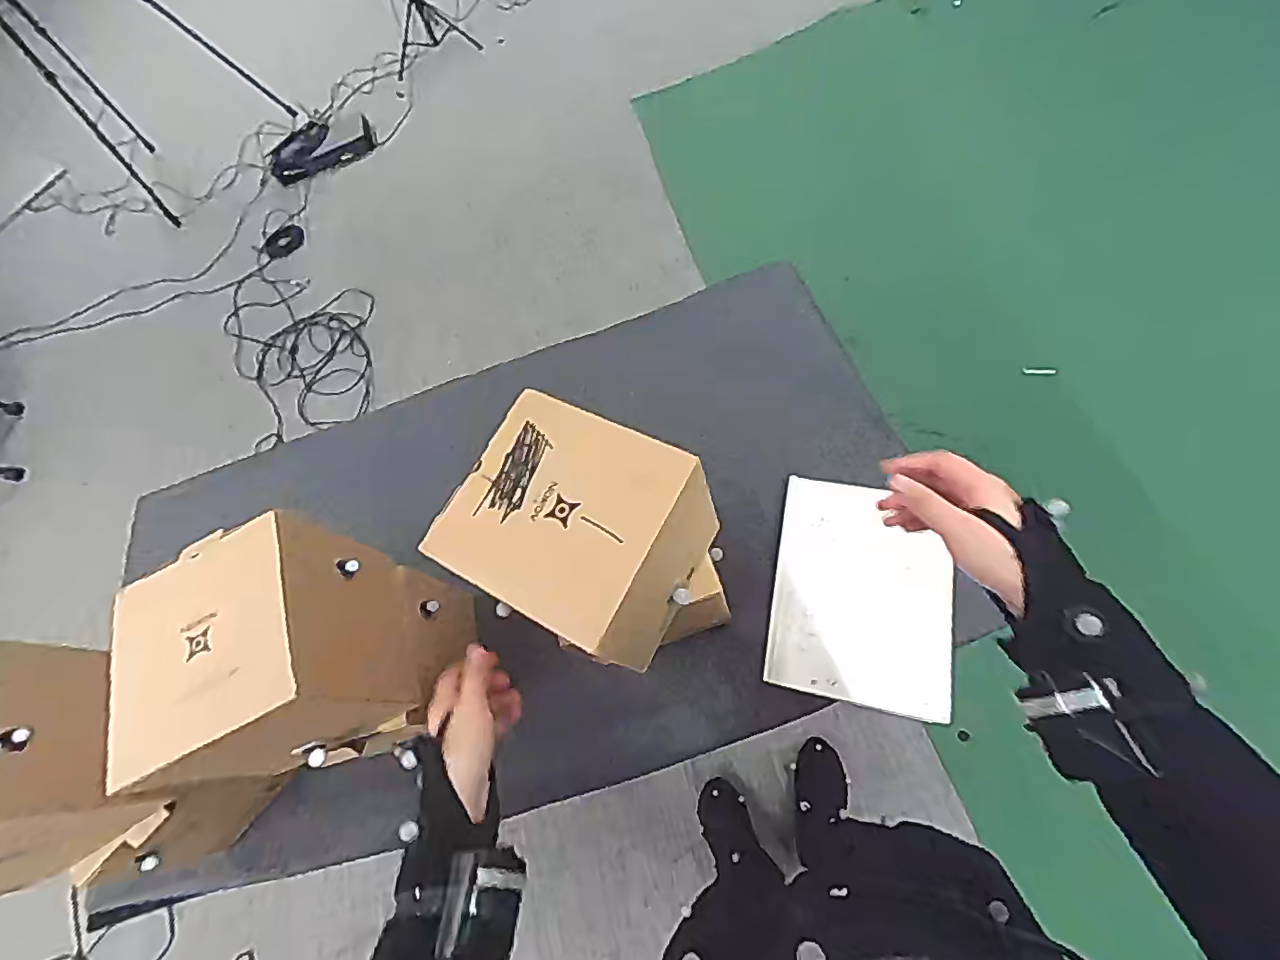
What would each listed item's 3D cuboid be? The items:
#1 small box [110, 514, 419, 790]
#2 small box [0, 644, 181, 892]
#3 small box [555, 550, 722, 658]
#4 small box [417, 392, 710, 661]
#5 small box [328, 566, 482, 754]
[{"bbox_3d":[-0.344,0.165,0.519,0.168,0.176,0.179,-28,64,2],"label":"small box"},{"bbox_3d":[-0.607,0.286,0.530,0.179,0.176,0.168,-34,64,-1],"label":"small box"},{"bbox_3d":[-0.008,0.102,0.646,0.179,0.176,0.168,-21,64,5],"label":"small box"},{"bbox_3d":[-0.053,0.051,0.496,0.179,0.176,0.168,24,75,22],"label":"small box"},{"bbox_3d":[-0.313,0.228,0.665,0.168,0.176,0.179,-18,64,6],"label":"small box"}]
